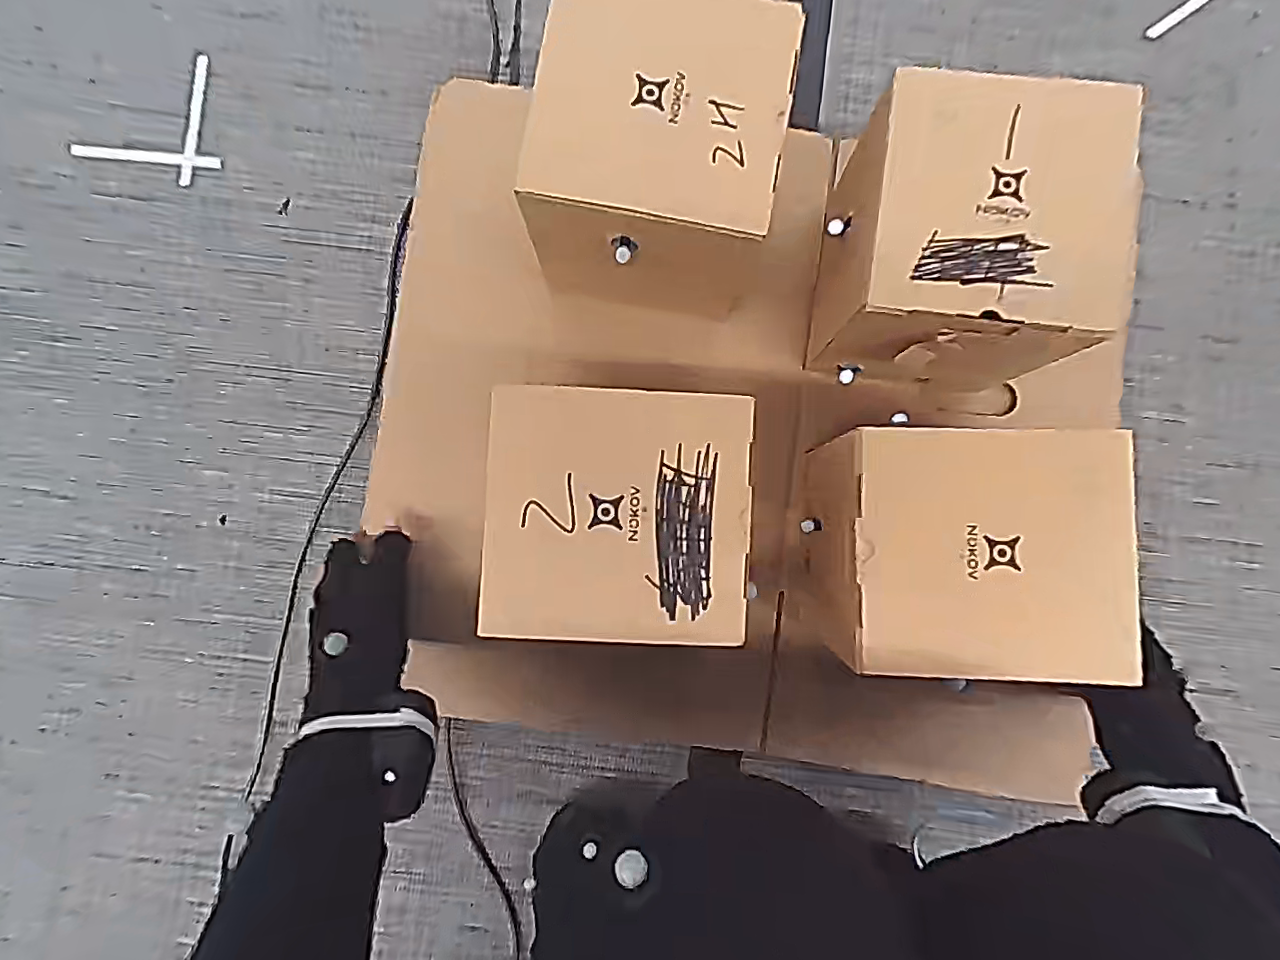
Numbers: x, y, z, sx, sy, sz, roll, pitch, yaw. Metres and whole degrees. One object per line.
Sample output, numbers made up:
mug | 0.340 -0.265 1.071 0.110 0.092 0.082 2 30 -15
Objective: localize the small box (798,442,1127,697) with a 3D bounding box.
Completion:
small box | 0.230 0.060 0.432 0.179 0.176 0.168 0 86 8
